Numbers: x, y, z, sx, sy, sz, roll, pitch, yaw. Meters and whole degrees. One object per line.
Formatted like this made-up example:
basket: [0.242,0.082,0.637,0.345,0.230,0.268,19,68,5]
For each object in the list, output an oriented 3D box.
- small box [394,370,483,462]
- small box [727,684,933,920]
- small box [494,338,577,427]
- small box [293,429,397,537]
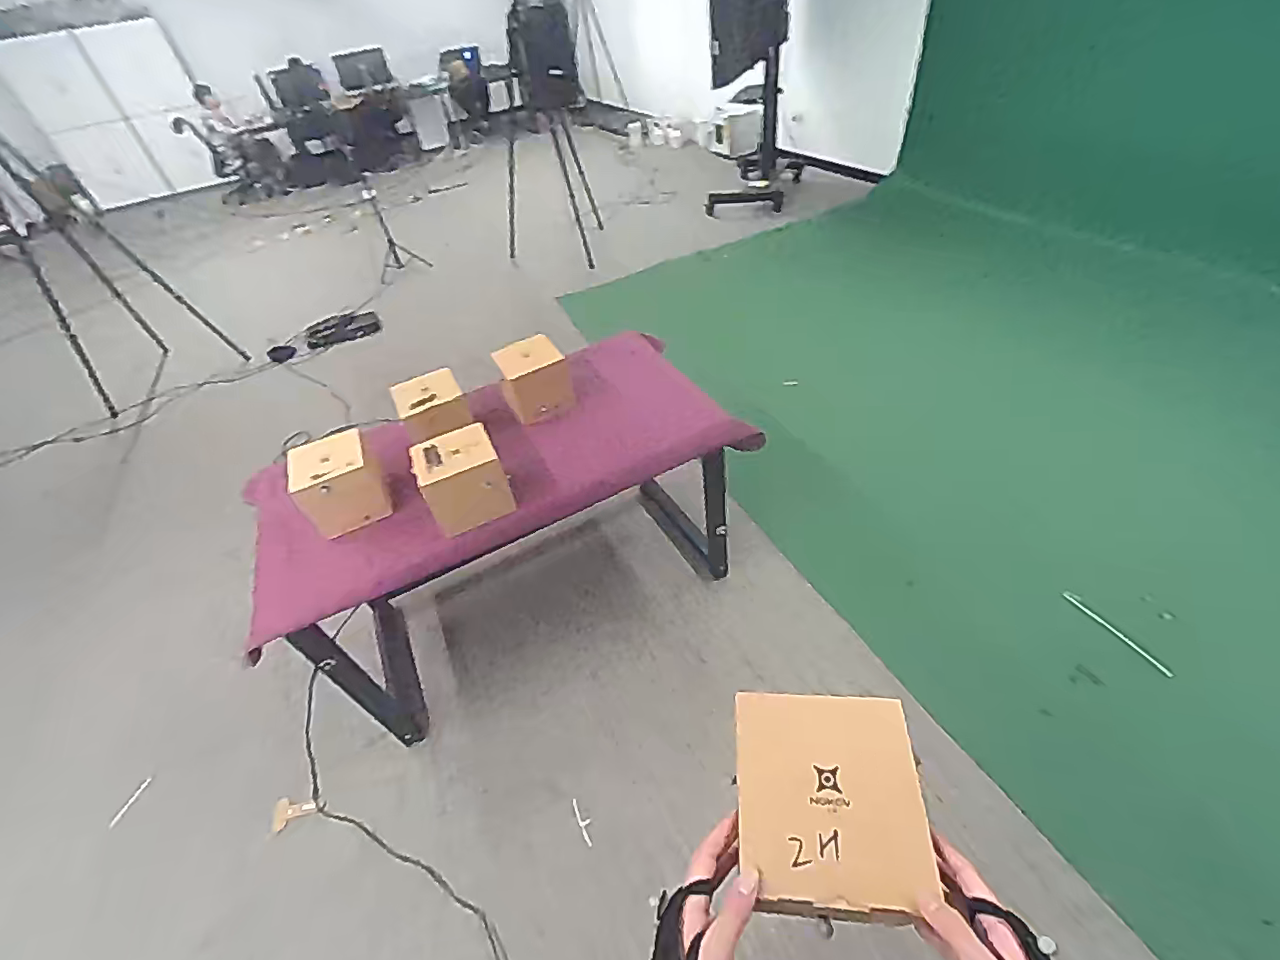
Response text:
small box: [-0.552,-0.171,1.495,0.168,0.176,0.179,-25,45,-16]
small box: [0.174,0.334,0.563,0.168,0.176,0.179,-1,49,9]
small box: [-0.300,-0.282,1.568,0.168,0.176,0.179,-26,46,-15]
small box: [-0.725,0.008,1.335,0.168,0.176,0.179,-25,45,-13]
